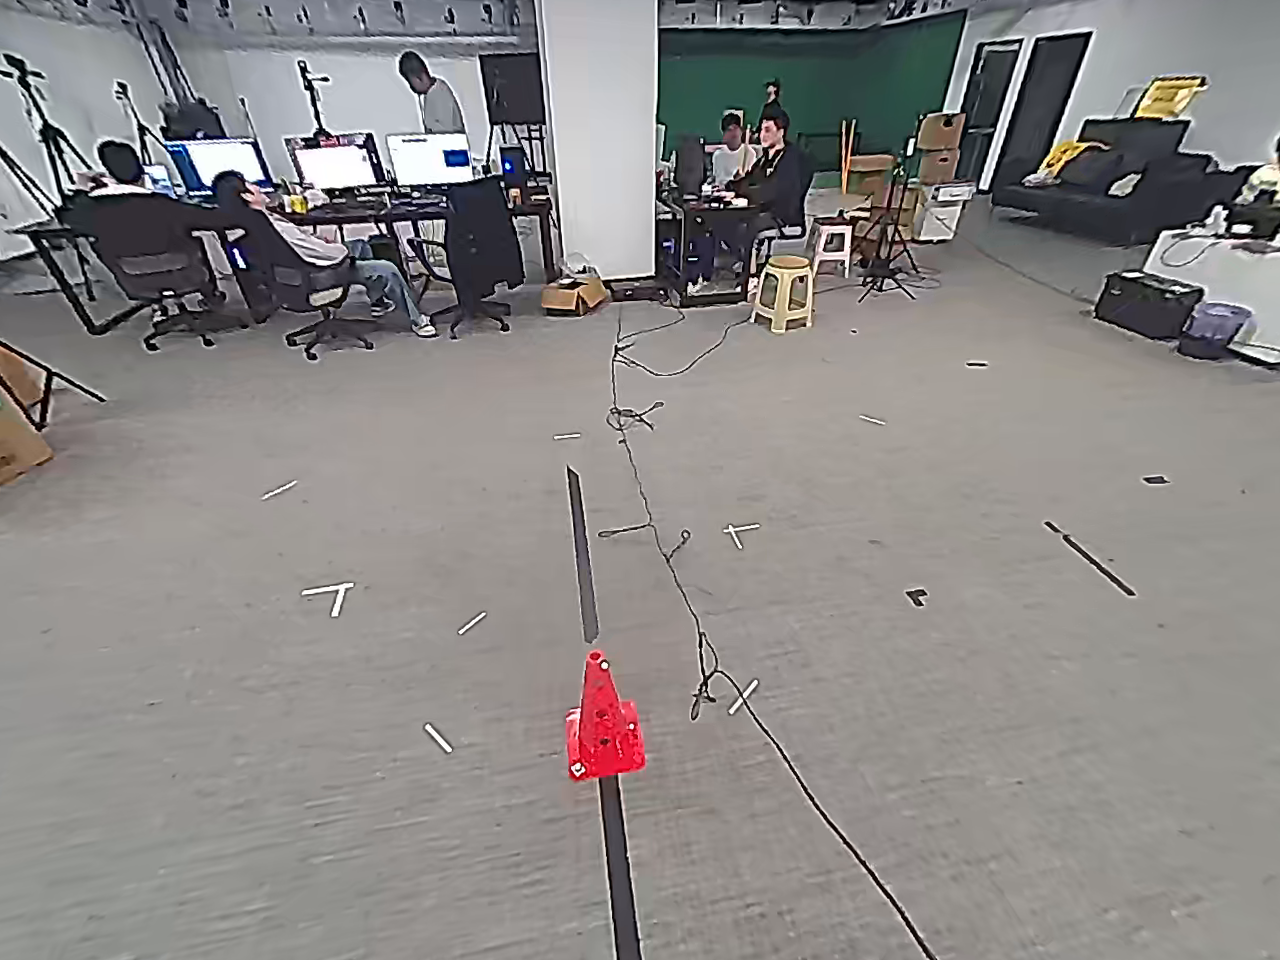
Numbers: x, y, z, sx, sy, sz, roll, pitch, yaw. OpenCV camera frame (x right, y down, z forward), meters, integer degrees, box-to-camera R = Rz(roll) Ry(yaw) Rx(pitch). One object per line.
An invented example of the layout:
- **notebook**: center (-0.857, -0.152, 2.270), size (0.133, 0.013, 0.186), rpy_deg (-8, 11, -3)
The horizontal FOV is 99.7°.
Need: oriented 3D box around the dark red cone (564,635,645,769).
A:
- **dark red cone**: center (-0.097, 0.534, 1.355), size (0.201, 0.394, 0.202), rpy_deg (-6, 35, -9)
